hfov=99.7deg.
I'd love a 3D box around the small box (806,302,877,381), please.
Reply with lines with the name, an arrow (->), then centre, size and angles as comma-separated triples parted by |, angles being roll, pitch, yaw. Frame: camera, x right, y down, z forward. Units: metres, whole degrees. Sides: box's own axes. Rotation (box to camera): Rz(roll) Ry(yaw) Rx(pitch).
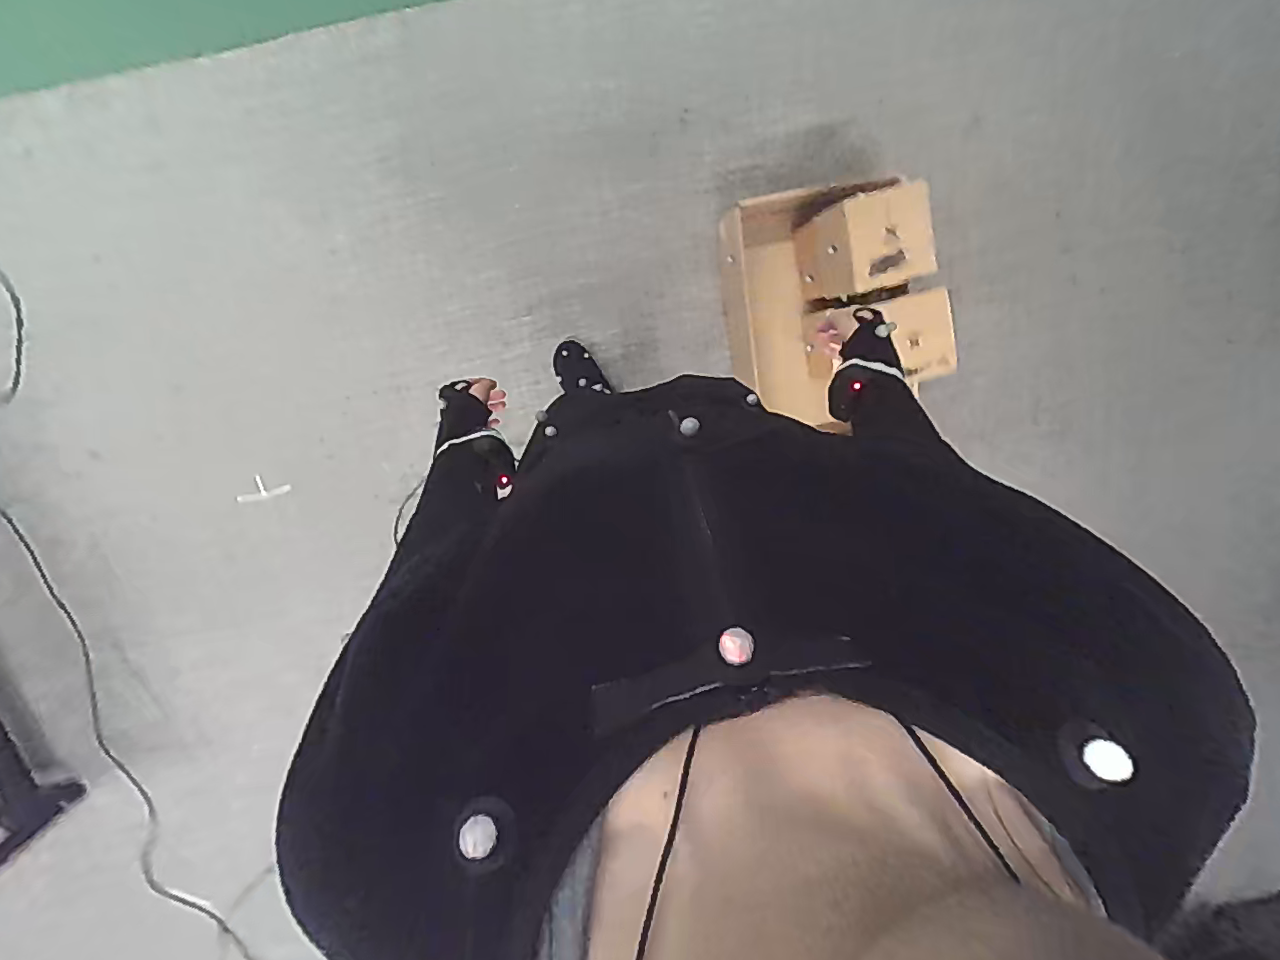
small box -> 0.526, -0.342, 1.326 | 0.179, 0.176, 0.168 | -10, 102, 0

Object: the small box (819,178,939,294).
small box -> 0.487, -0.490, 1.118 | 0.168, 0.176, 0.179 | -14, 104, 1

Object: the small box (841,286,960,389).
small box -> 0.553, -0.301, 1.168 | 0.168, 0.176, 0.179 | -14, 102, 0
